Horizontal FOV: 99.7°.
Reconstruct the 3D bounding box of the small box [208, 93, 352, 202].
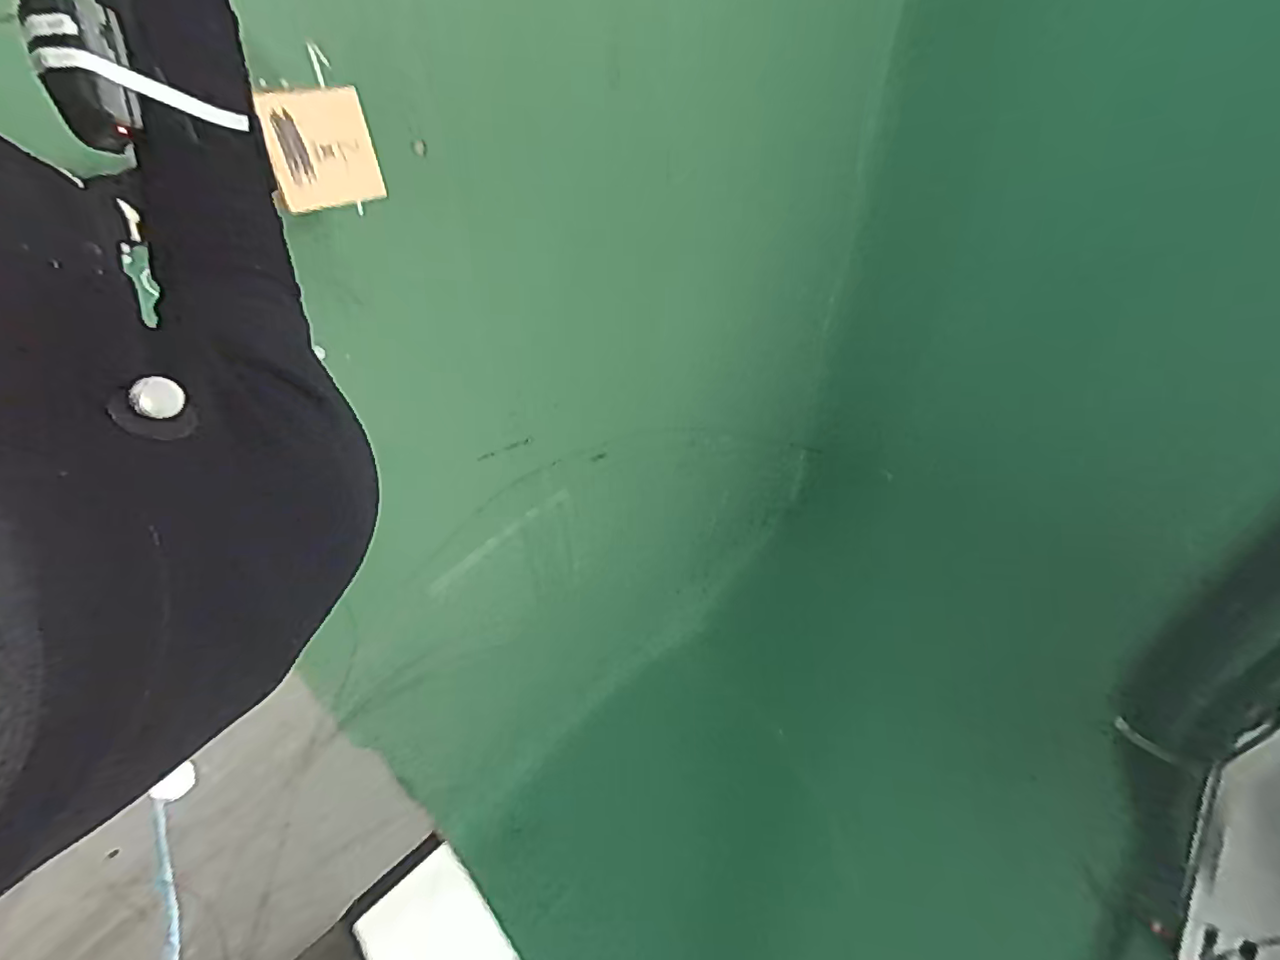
[{"bbox_3d":[-0.712,-0.659,1.066,0.179,0.176,0.168,-32,138,-33],"label":"small box"}]
